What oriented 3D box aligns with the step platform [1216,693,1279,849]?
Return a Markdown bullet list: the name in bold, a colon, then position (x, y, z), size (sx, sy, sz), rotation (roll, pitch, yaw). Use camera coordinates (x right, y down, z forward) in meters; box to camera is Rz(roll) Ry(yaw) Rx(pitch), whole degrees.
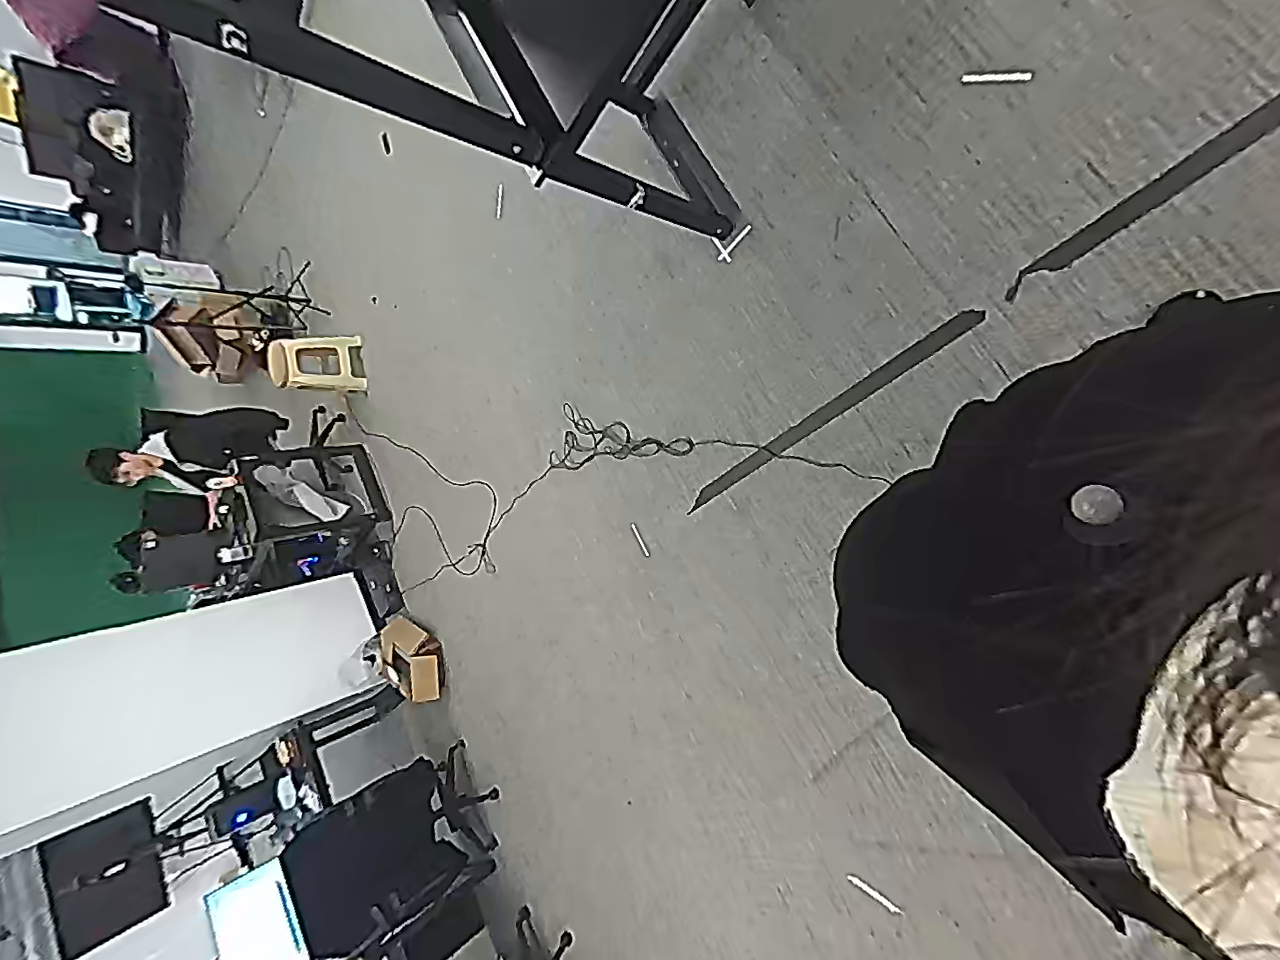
- **step platform**: position (1.342, 0.450, 0.776), size (0.684, 0.204, 0.286), rotation (-31, 77, 40)
